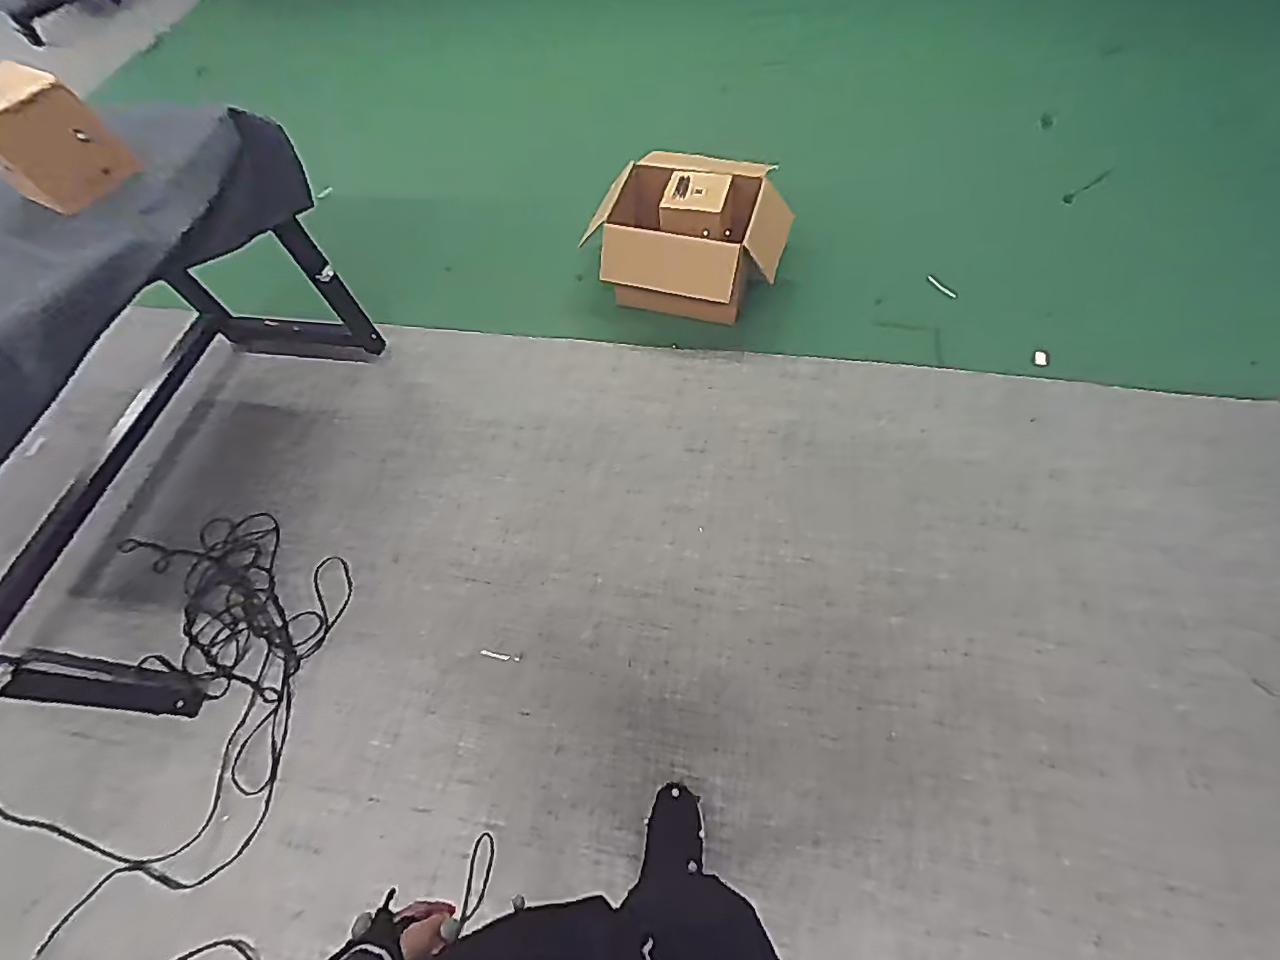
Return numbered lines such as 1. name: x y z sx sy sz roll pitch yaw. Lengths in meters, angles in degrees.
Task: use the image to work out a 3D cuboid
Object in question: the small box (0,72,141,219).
1. small box: -1.117 -0.623 1.018 0.179 0.176 0.168 23 64 18
